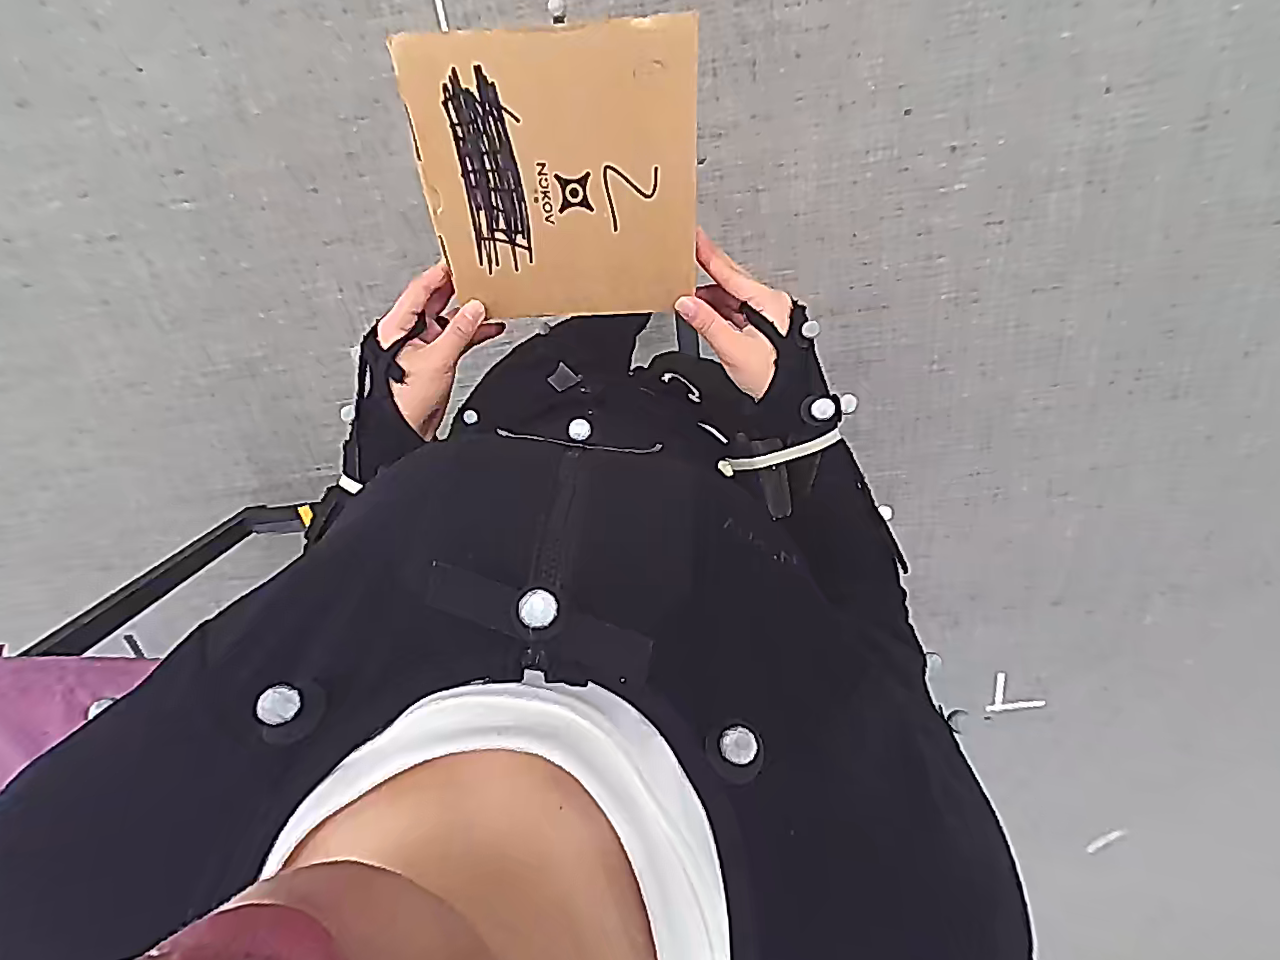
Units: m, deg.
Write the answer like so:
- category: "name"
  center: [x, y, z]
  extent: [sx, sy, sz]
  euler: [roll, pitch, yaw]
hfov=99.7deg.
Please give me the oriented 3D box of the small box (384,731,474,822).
- category: "small box"
  center: [-0.628, 0.888, 1.628]
  extent: [0.179, 0.176, 0.168]
  euler: [-10, 113, 4]
